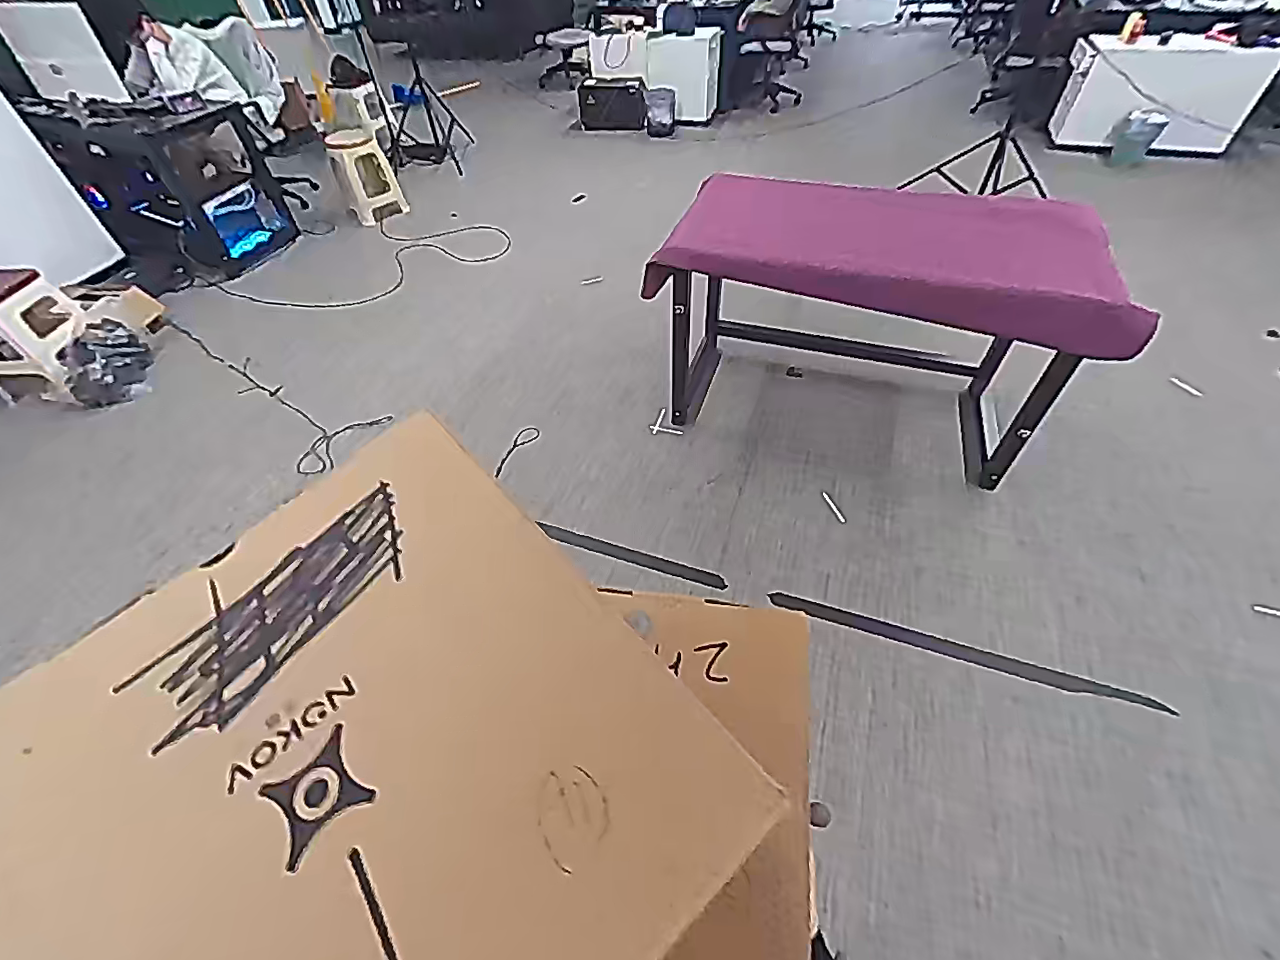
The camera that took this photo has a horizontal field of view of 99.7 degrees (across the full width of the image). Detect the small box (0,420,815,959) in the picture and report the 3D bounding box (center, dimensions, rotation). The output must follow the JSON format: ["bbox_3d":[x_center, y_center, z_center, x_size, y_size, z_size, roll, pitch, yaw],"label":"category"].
[{"bbox_3d":[-0.065,0.117,0.207,0.168,0.176,0.179,-40,60,-17],"label":"small box"}]
